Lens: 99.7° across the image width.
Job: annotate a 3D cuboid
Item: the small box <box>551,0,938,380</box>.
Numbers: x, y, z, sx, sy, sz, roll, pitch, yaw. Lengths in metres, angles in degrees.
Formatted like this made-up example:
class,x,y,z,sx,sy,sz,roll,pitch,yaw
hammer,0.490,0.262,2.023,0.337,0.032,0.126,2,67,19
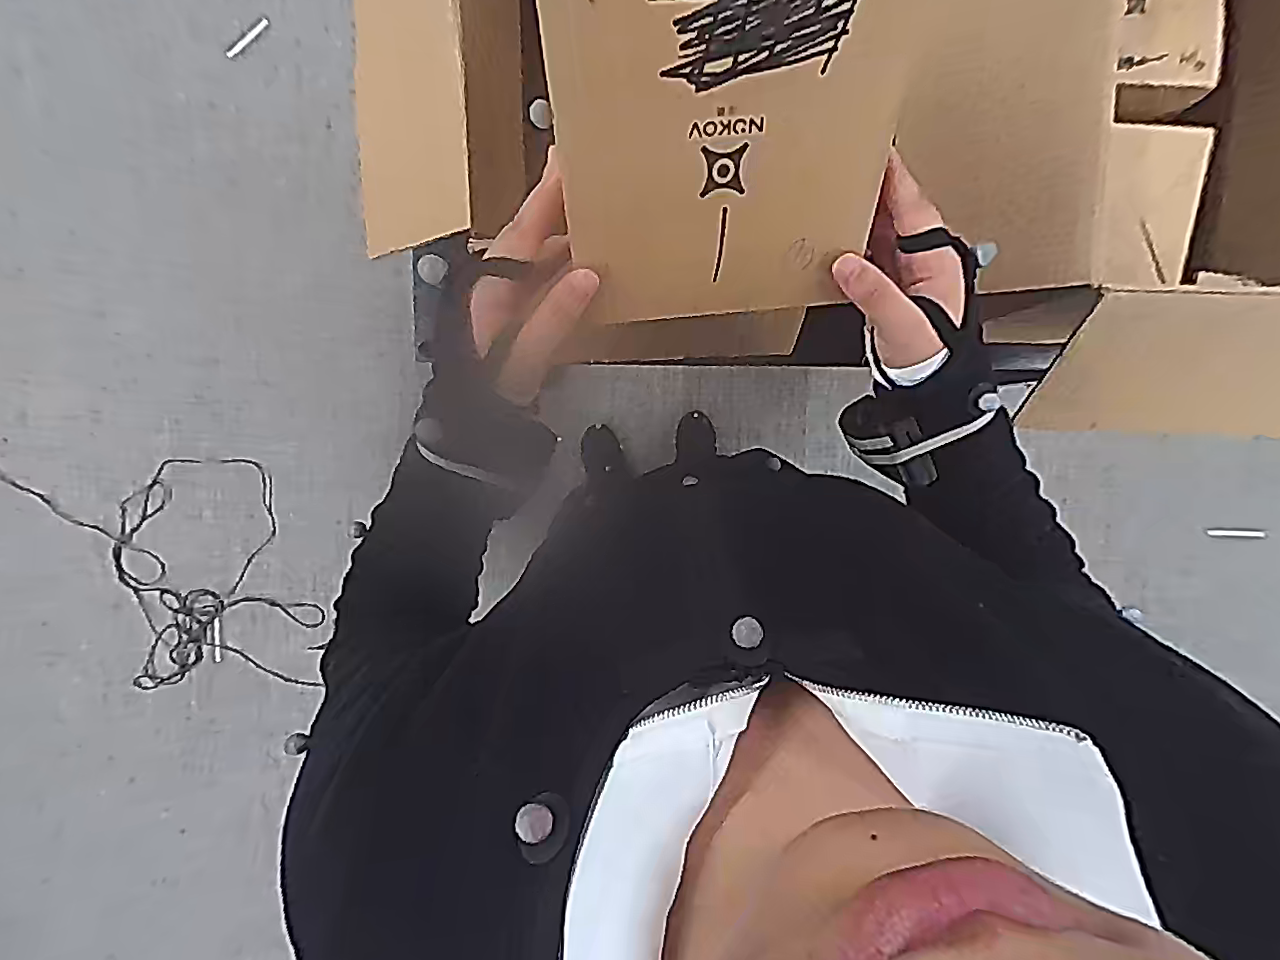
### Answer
class,x,y,z,sx,sy,sz,roll,pitch,yaw
small box,0.037,-0.187,0.332,0.168,0.176,0.179,-6,136,-2
